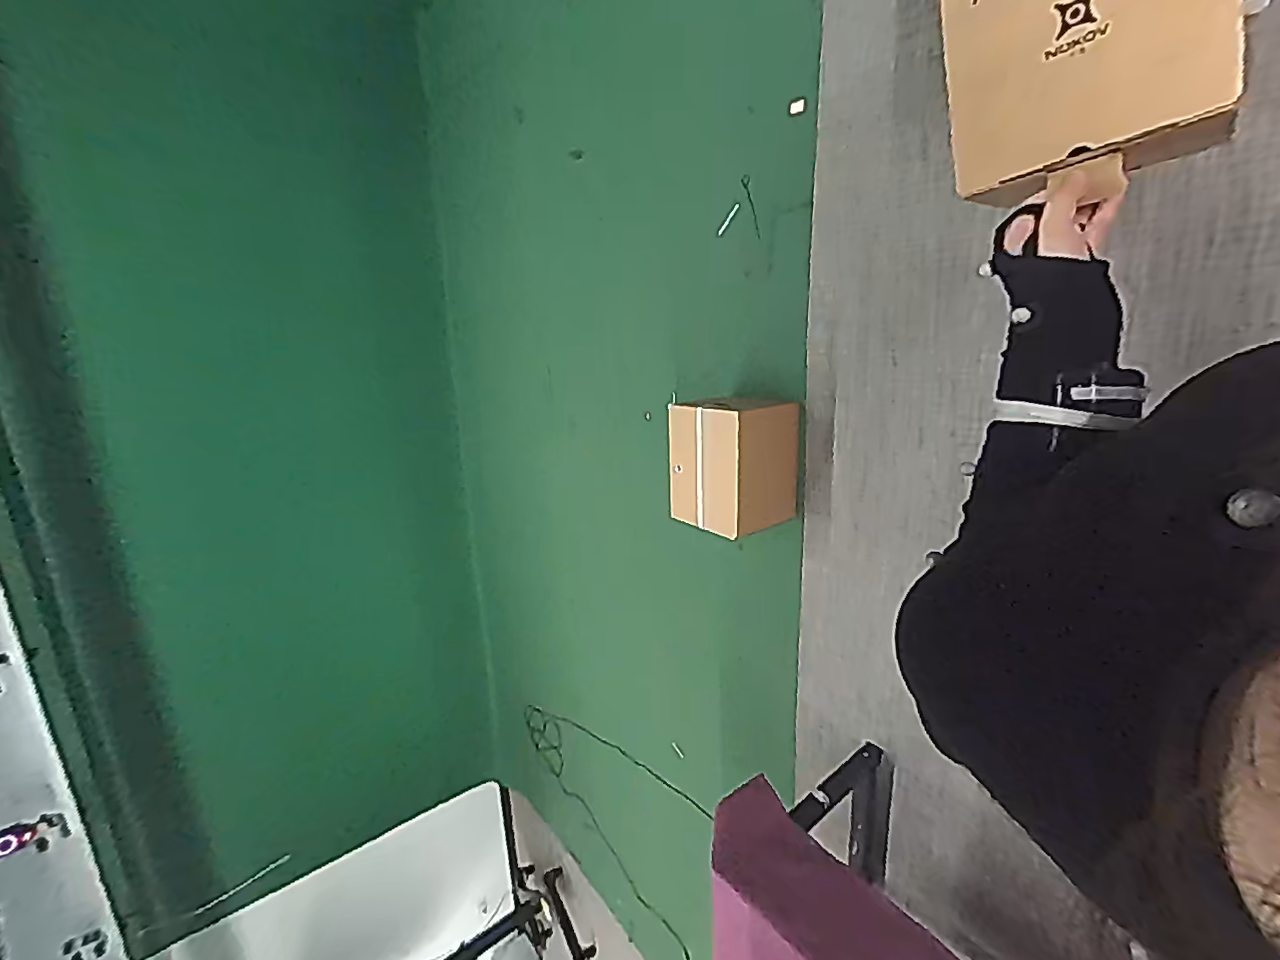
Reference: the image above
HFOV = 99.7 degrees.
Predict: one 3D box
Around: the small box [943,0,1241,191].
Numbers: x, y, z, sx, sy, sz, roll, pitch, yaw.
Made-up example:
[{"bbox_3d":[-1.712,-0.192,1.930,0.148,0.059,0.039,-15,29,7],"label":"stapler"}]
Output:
[{"bbox_3d":[0.369,-0.356,0.442,0.168,0.176,0.179,0,107,47],"label":"small box"}]
